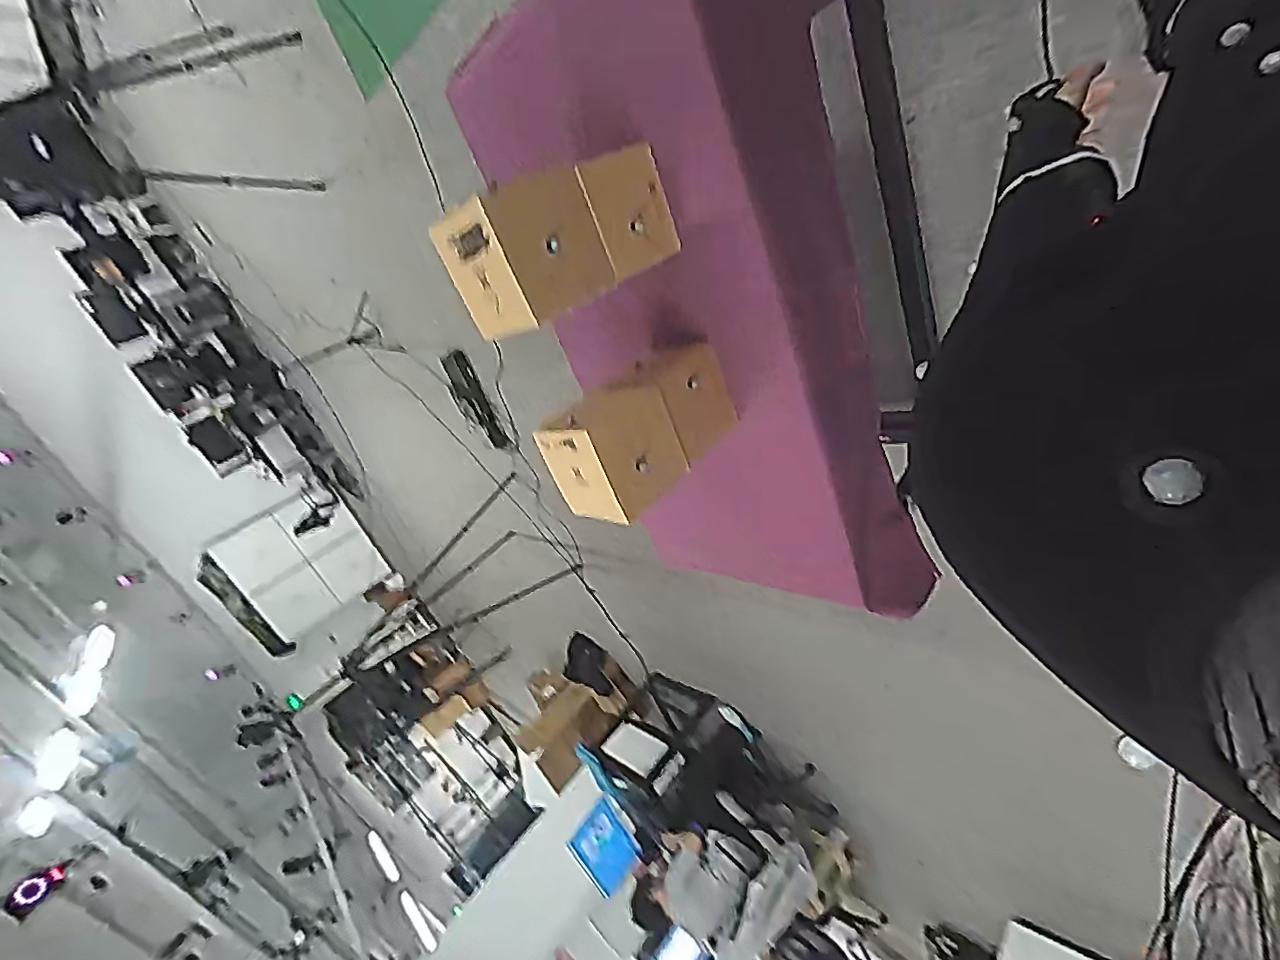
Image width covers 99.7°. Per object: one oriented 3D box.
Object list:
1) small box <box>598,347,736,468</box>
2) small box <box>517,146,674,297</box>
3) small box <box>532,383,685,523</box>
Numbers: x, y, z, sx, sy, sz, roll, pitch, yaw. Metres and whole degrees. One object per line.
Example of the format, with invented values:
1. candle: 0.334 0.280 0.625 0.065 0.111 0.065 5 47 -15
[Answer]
1. small box: 0.056 -0.142 1.031 0.168 0.176 0.179 5 126 48
2. small box: -0.064 -0.425 0.898 0.179 0.176 0.168 7 127 47
3. small box: -0.048 -0.051 0.941 0.168 0.176 0.179 5 126 48
